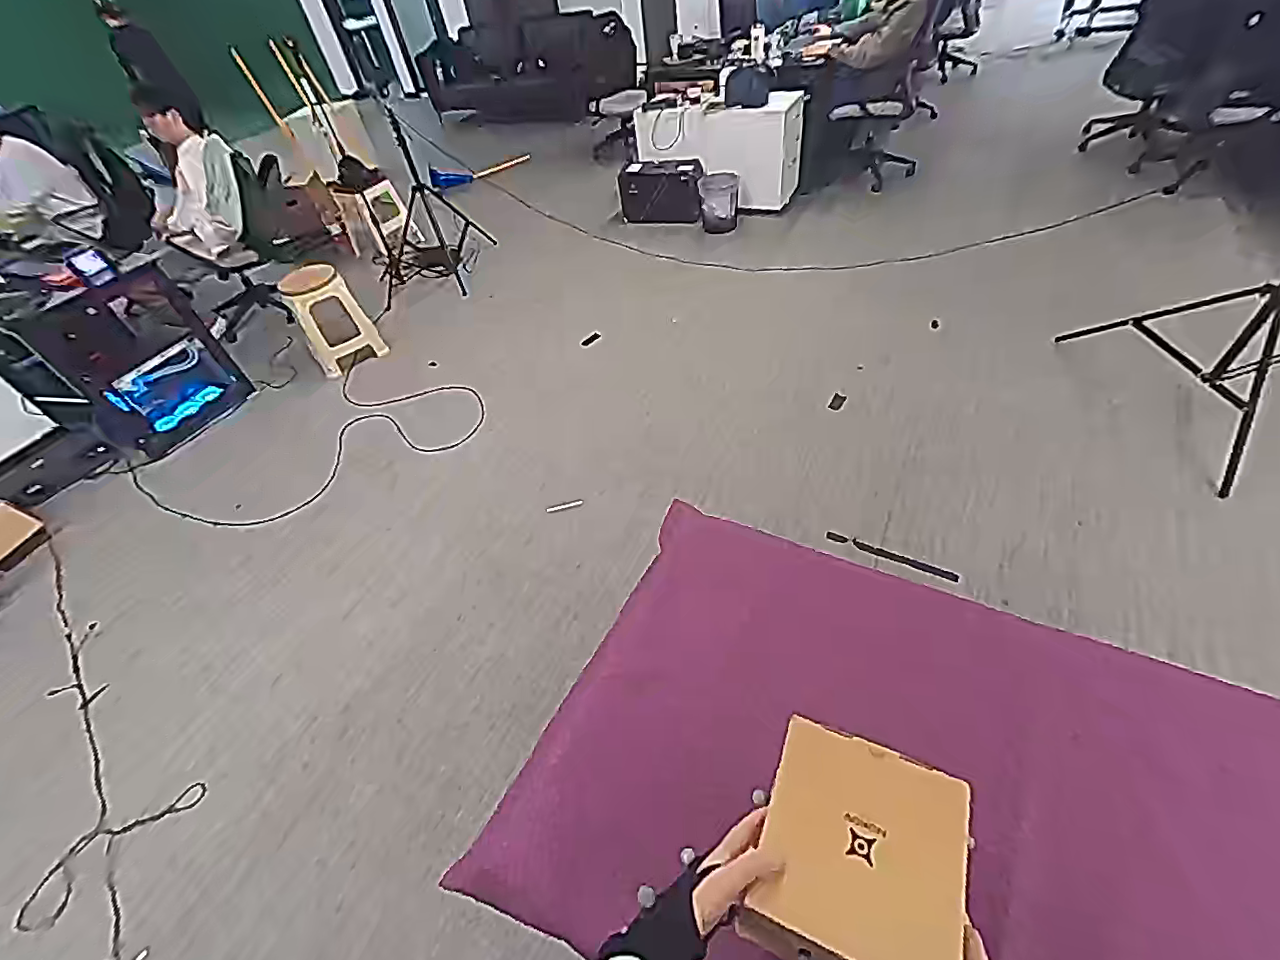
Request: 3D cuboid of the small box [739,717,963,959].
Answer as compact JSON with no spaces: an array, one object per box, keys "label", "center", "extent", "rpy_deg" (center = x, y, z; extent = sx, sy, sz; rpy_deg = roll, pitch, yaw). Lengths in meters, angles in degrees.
[{"label":"small box","center":[0.203,0.382,0.541],"extent":[0.168,0.176,0.179],"rpy_deg":[15,46,21]}]
